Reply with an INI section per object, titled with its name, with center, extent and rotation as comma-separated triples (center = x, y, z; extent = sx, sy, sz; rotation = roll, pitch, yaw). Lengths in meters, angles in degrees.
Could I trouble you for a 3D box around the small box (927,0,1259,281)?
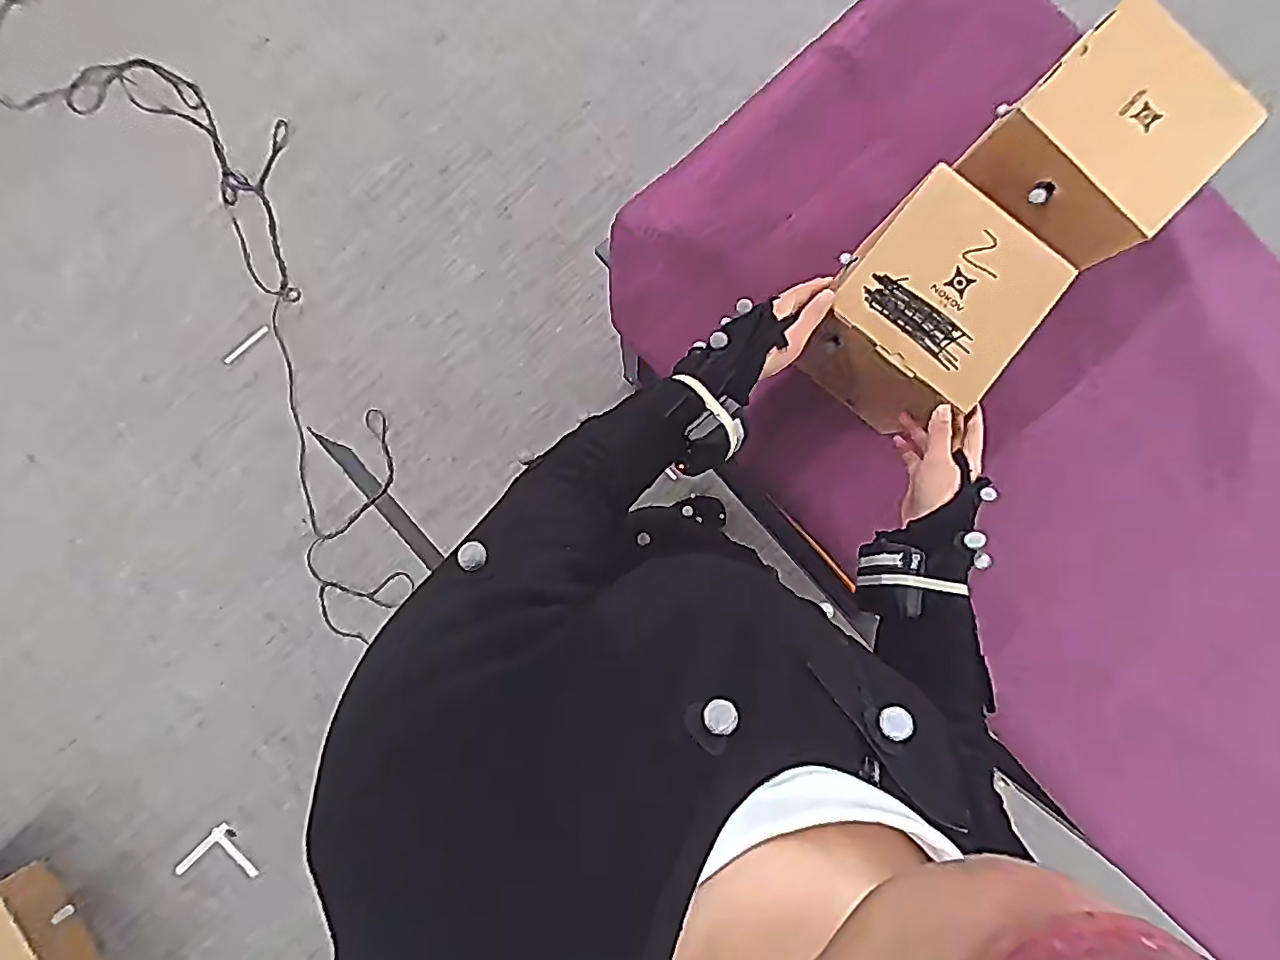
[small box]
center = 0.464, -0.343, 0.586
extent = 0.179, 0.176, 0.168
rotation = 45, 89, 0
